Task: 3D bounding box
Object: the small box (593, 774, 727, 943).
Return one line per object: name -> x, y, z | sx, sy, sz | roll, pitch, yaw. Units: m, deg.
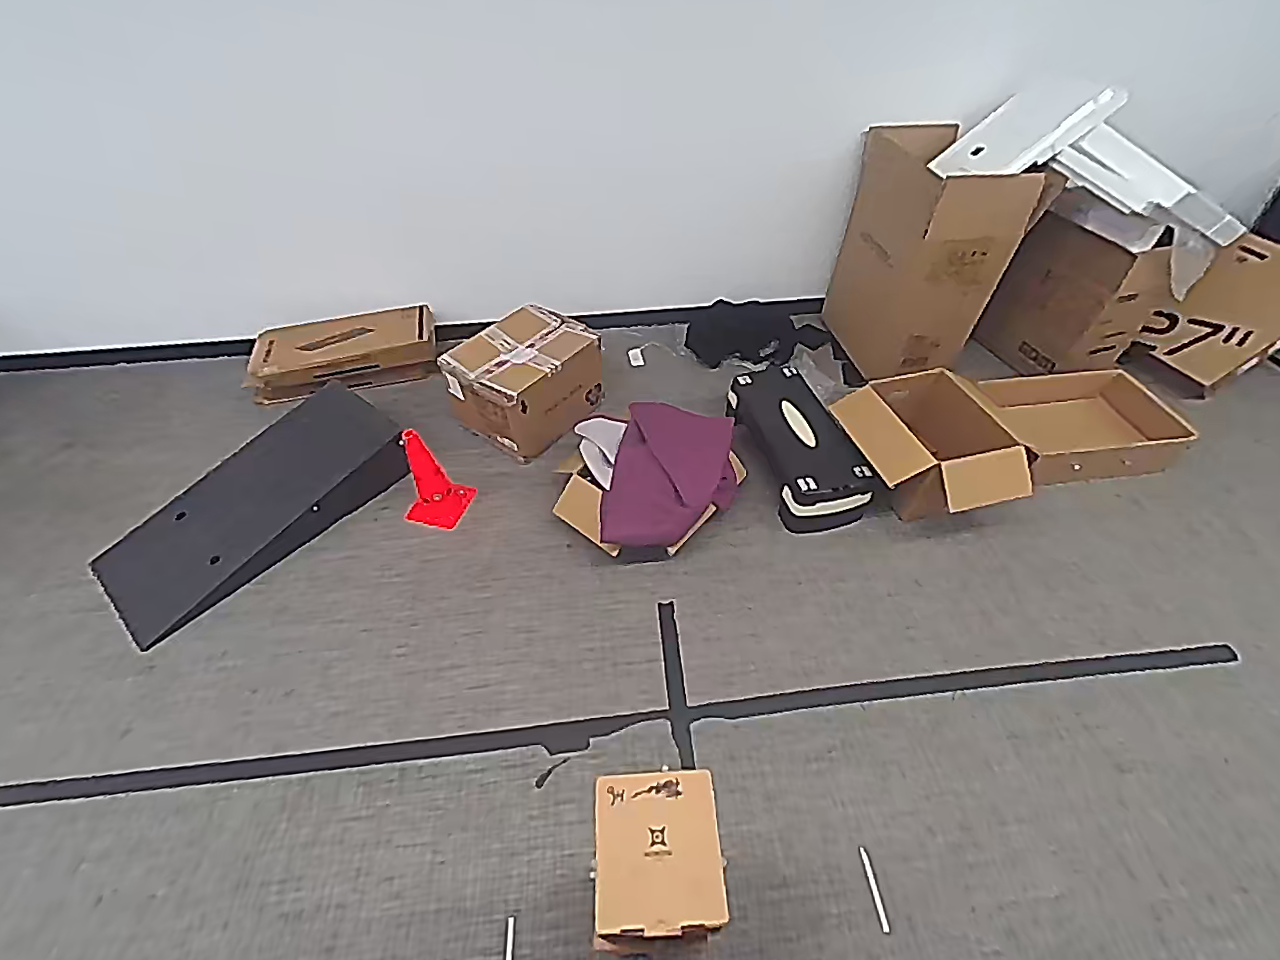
small box -> 0.026, 0.533, 0.760 | 0.168, 0.176, 0.179 | -3, 48, 0
